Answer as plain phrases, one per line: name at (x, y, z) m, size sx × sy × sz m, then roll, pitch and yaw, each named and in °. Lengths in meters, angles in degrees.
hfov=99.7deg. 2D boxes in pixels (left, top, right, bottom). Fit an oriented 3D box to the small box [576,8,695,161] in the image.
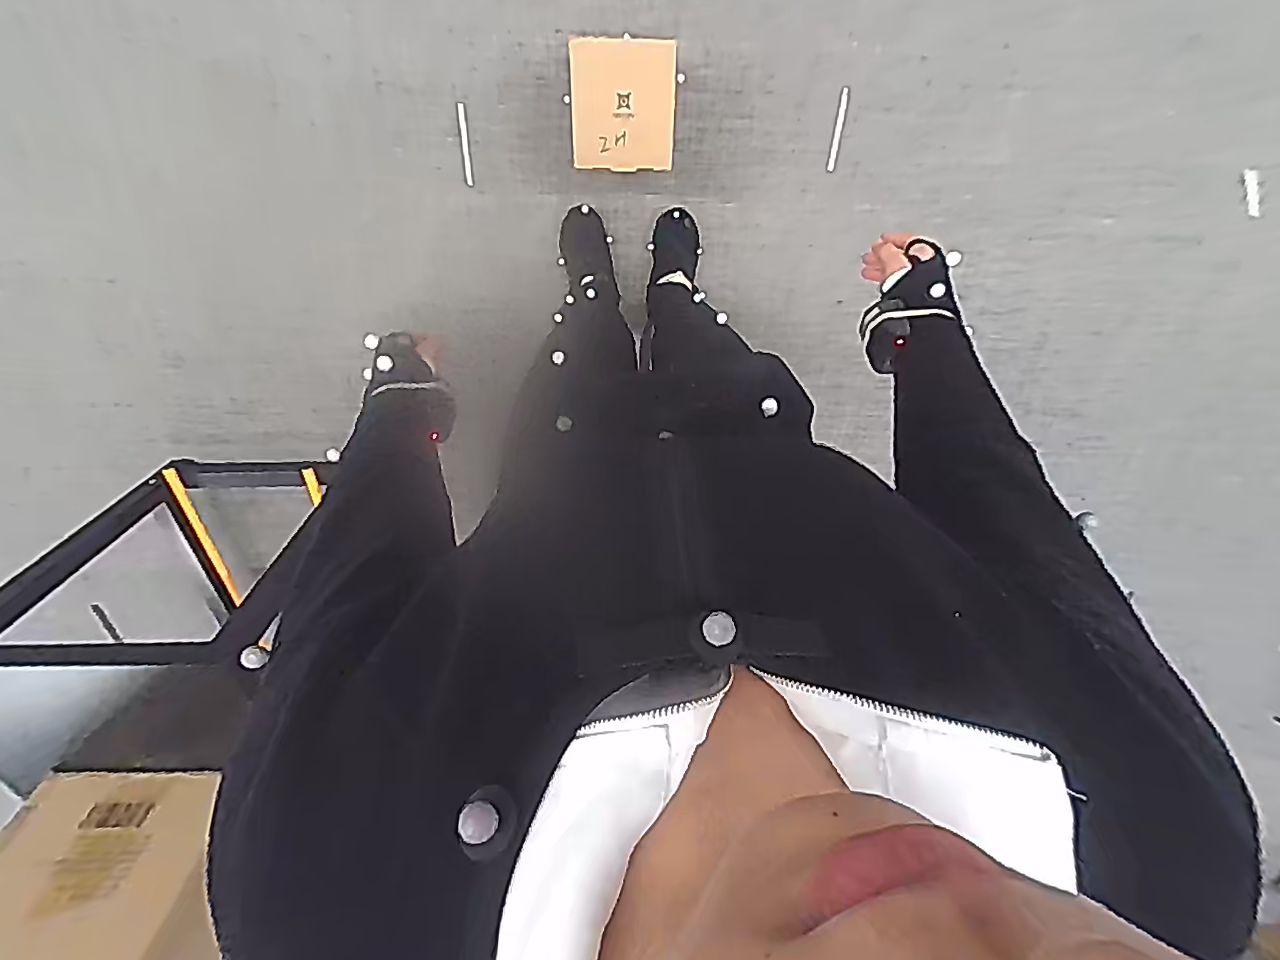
small box at (-0.011, -0.605, 0.842) m, size 0.168 × 0.176 × 0.179 m, roll 0°, pitch 124°, yaw -2°
